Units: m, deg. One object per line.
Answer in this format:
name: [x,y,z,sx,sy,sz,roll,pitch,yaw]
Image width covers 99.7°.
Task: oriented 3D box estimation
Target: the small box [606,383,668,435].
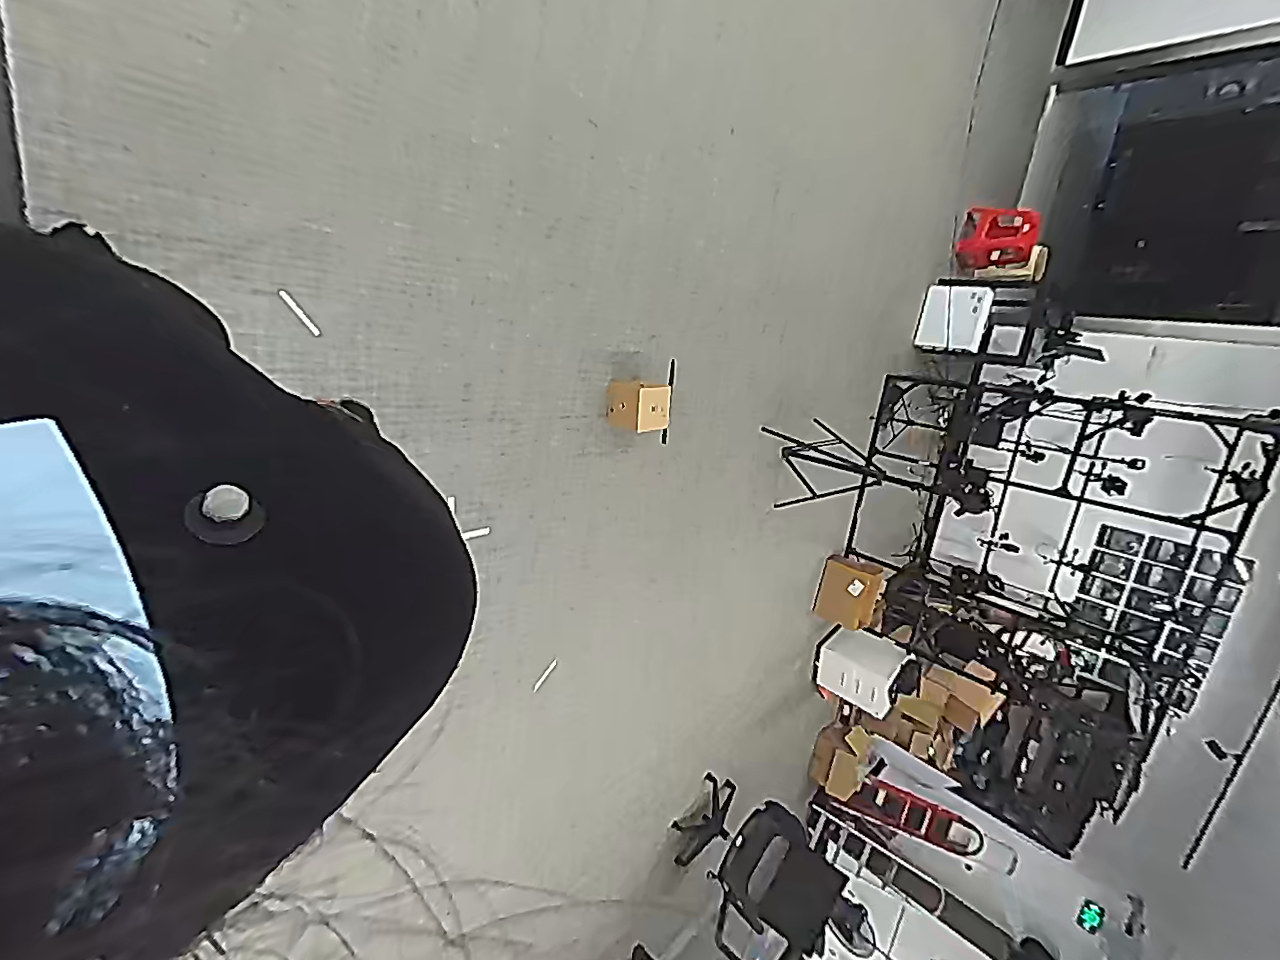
small box: [-0.015,-0.277,2.080,0.179,0.176,0.168,-14,115,-45]
